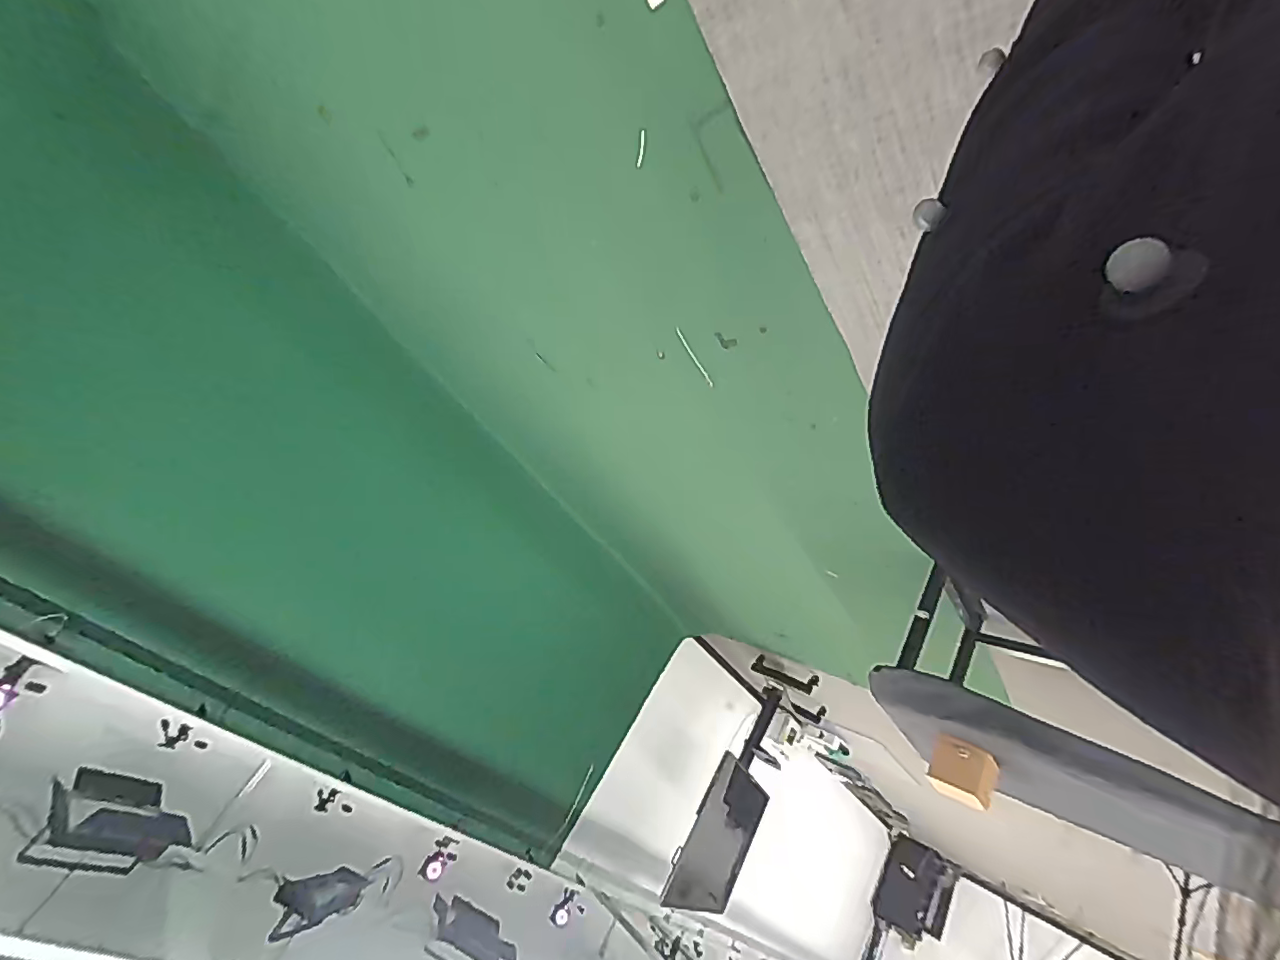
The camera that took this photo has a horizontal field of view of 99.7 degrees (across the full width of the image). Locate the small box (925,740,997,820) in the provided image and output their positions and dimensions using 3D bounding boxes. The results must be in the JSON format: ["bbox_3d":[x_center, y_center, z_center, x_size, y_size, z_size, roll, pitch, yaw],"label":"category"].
[{"bbox_3d":[1.161,1.075,1.946,0.168,0.176,0.179,2,140,49],"label":"small box"}]
